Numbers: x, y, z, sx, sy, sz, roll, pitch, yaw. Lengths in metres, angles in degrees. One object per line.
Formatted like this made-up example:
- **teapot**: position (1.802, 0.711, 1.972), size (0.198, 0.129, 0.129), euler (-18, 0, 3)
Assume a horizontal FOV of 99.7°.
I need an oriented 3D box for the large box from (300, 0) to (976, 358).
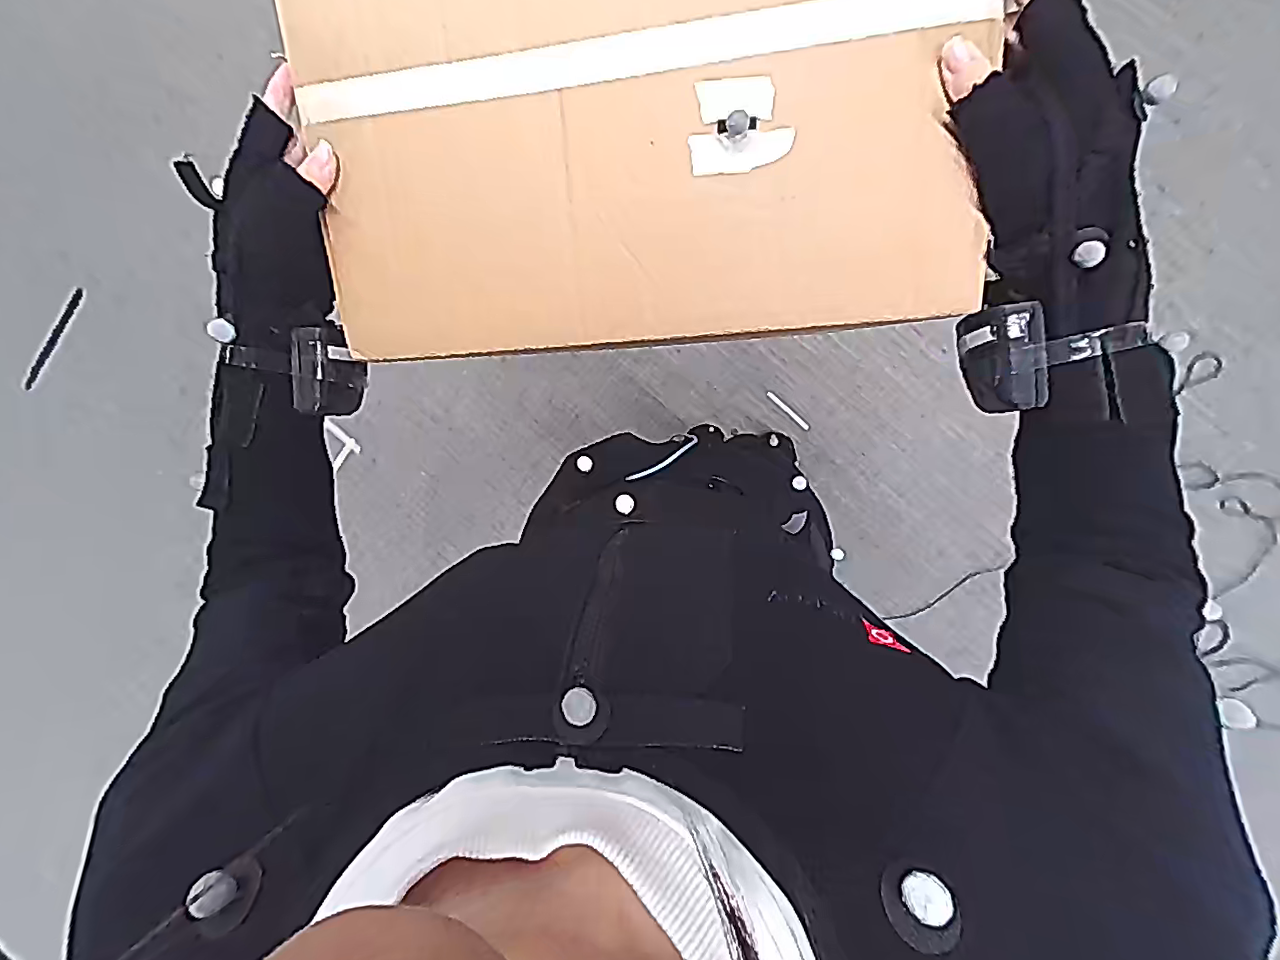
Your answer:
- **large box**: position (0.006, -0.285, 0.467), size (0.408, 0.320, 0.320), euler (-4, 104, 8)
